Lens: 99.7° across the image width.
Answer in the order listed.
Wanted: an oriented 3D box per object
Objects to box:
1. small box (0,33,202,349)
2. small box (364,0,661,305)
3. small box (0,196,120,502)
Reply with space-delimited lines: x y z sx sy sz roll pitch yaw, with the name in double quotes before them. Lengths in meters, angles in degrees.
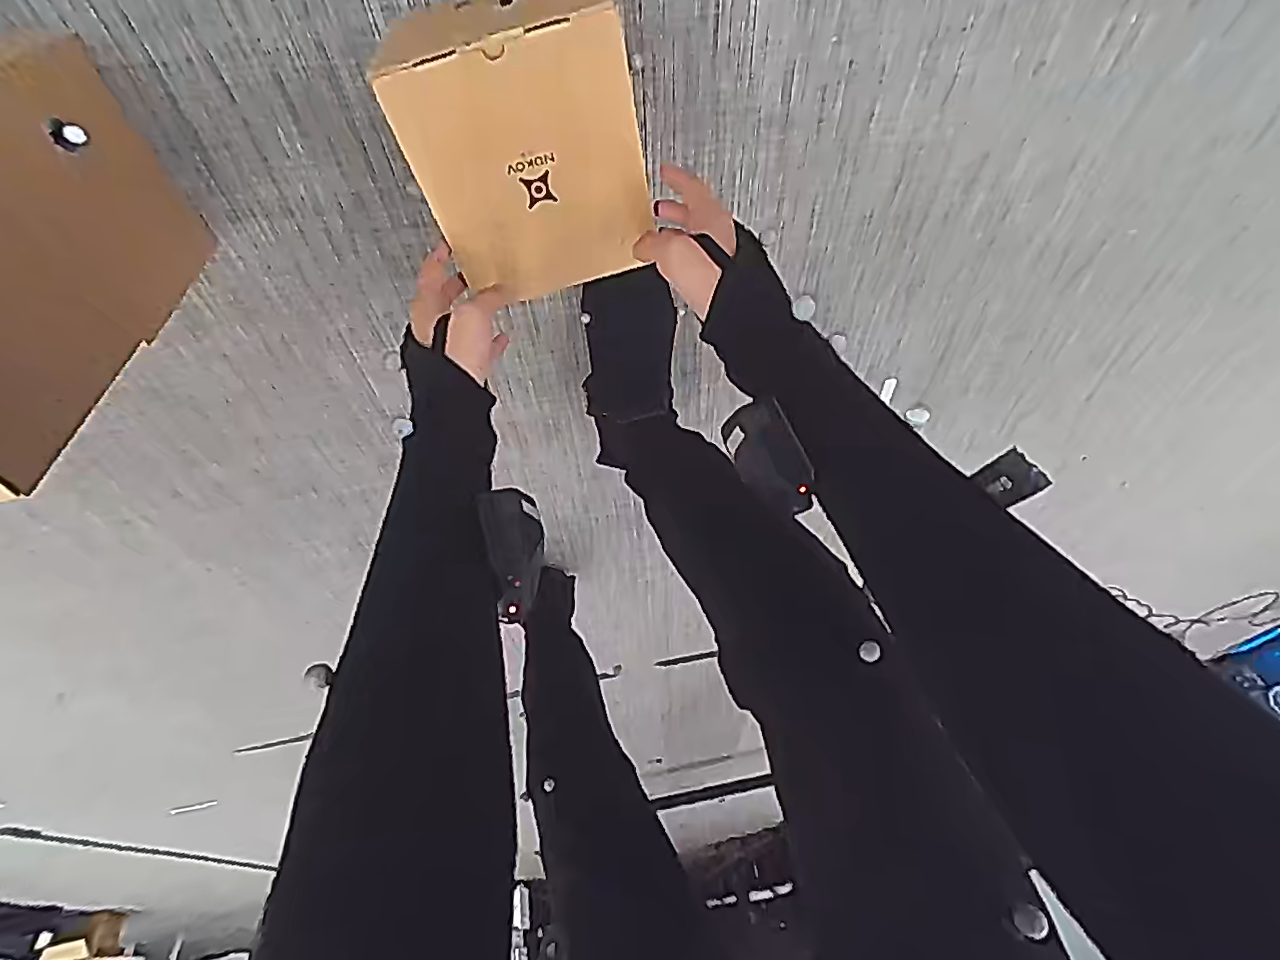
"small box" -0.490 -0.209 0.405 0.168 0.176 0.179 -9 140 -4
"small box" -0.088 -0.279 0.440 0.168 0.176 0.179 -16 140 2
"small box" -0.462 -0.092 0.294 0.168 0.176 0.179 -9 141 -4
